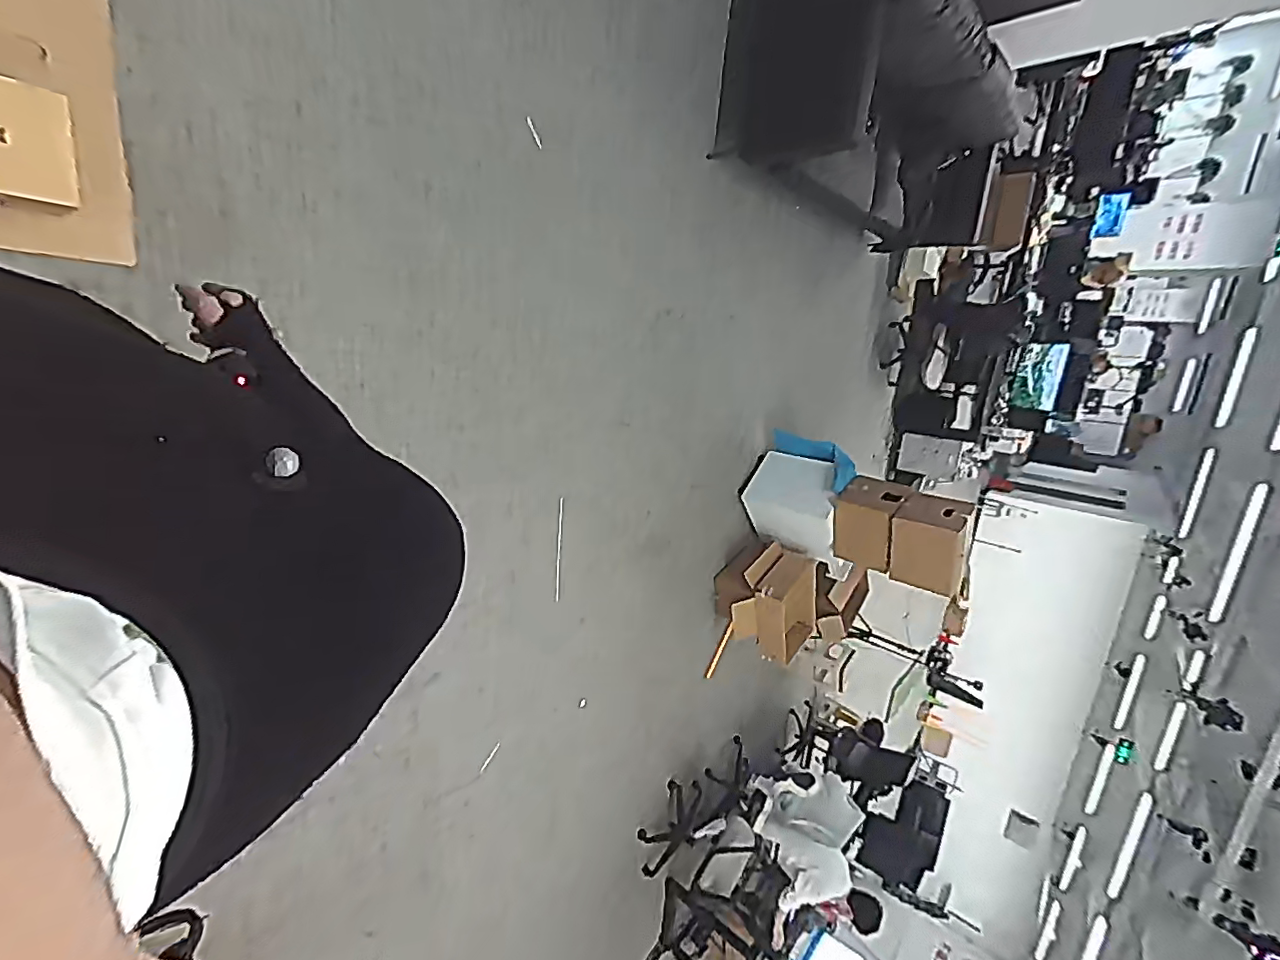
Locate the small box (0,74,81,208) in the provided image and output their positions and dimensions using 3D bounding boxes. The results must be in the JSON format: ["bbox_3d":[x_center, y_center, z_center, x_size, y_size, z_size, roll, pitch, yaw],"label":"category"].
[{"bbox_3d":[-1.019,-0.536,0.848,0.179,0.176,0.168,-9,111,-47],"label":"small box"}]
